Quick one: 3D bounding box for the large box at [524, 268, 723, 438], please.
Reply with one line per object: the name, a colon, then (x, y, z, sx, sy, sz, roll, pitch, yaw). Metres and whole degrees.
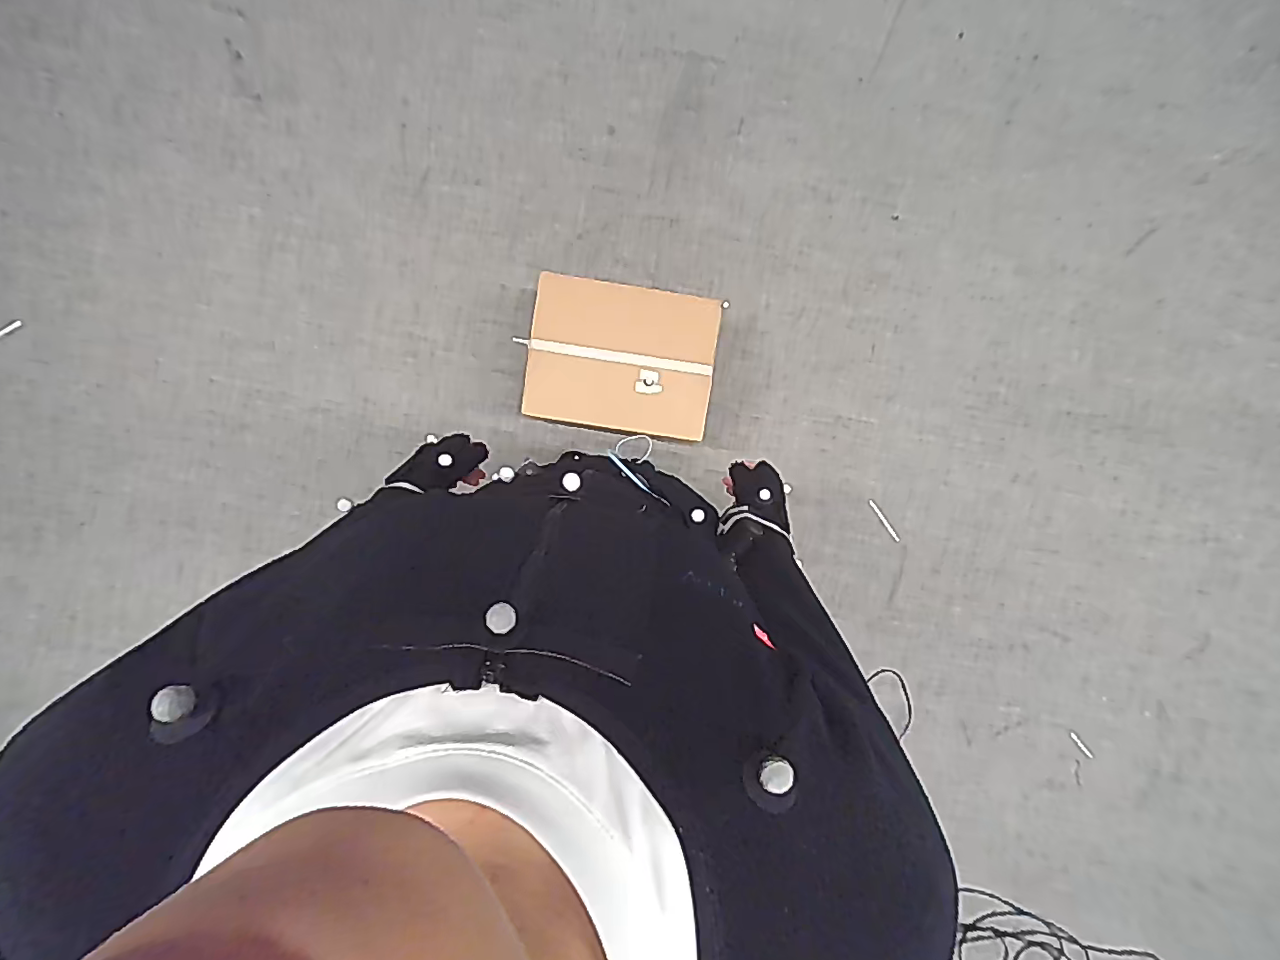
large box: (-0.043, -0.286, 1.322, 0.408, 0.320, 0.320, 9, 93, -2)
